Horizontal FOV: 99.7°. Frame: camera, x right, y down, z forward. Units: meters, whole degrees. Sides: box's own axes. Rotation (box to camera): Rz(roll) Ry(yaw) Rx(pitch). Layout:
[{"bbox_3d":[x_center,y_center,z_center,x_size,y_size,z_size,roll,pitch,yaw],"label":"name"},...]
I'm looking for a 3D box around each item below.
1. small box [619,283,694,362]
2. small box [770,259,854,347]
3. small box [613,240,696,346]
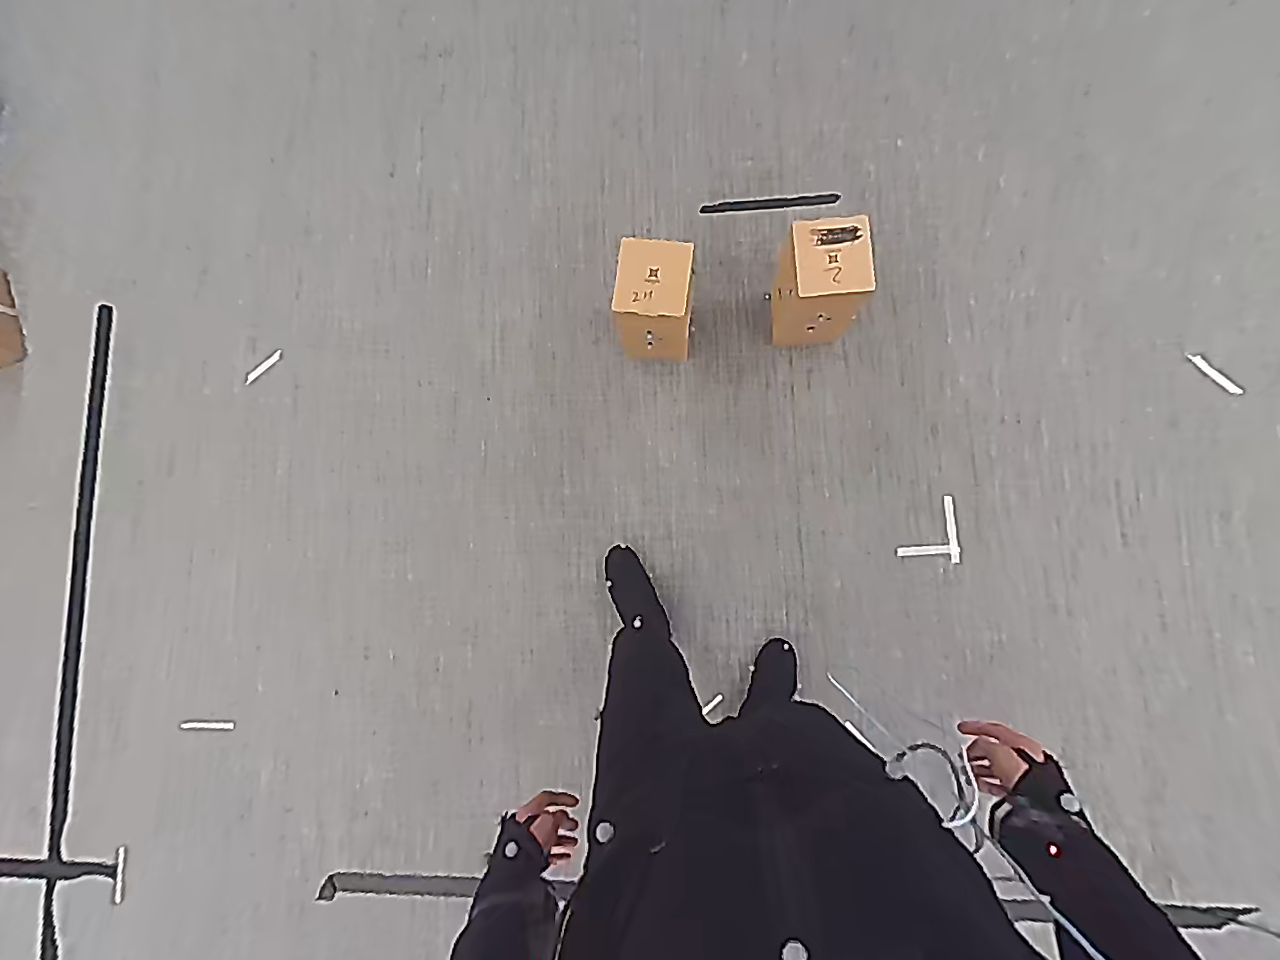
[{"bbox_3d":[0.049,-0.422,1.443,0.179,0.176,0.168,6,85,6],"label":"small box"},{"bbox_3d":[0.442,-0.456,1.417,0.179,0.176,0.168,-3,84,3],"label":"small box"},{"bbox_3d":[0.037,-0.437,1.279,0.168,0.176,0.179,8,85,6],"label":"small box"}]
